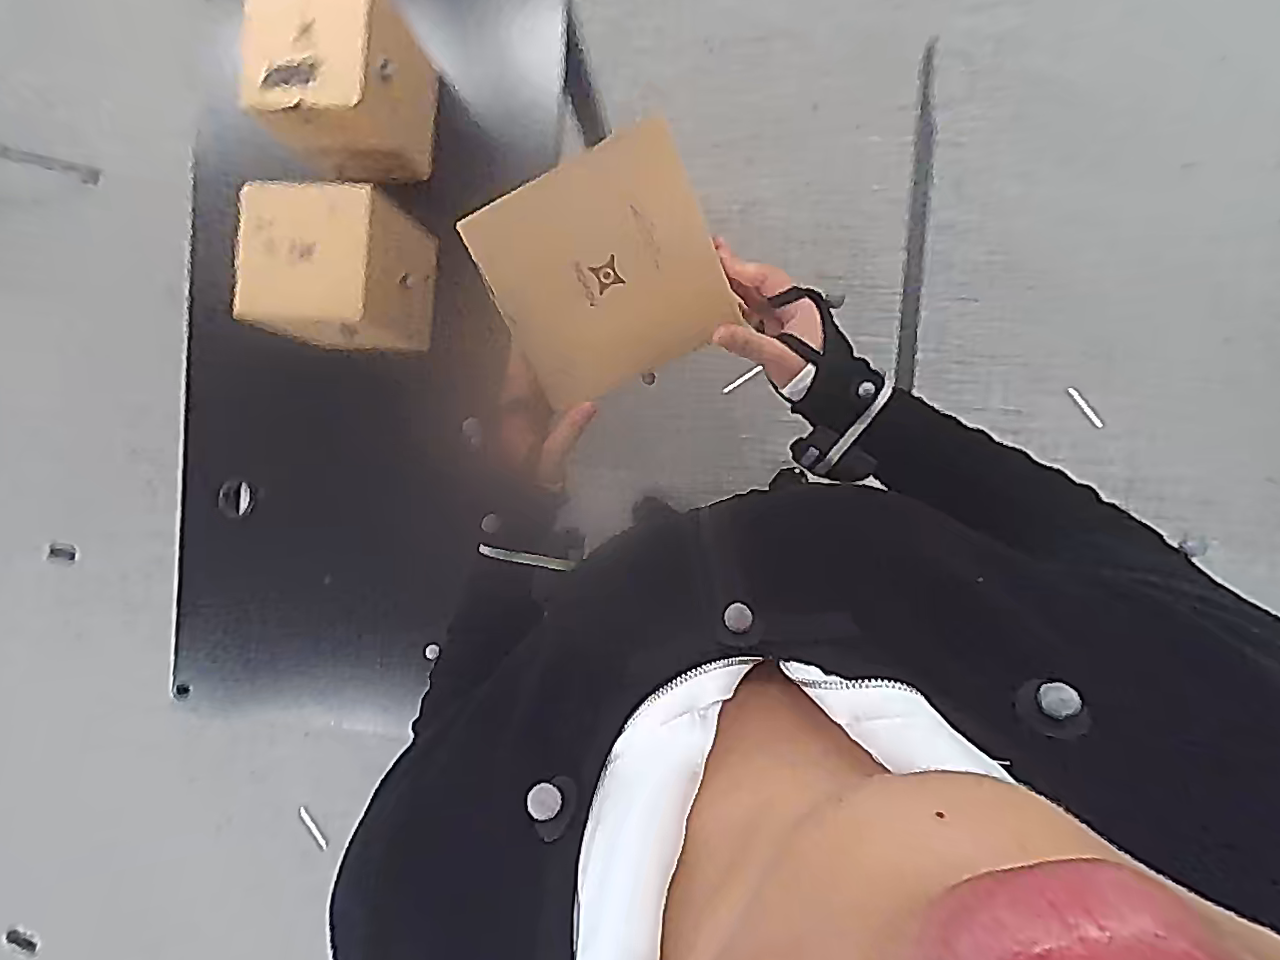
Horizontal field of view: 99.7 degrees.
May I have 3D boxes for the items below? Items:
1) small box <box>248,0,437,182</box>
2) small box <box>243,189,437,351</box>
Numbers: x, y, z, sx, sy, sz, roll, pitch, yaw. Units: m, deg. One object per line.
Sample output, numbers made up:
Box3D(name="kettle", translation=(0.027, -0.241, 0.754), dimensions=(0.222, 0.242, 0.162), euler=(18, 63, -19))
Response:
Box3D(name="small box", translation=(-0.403, -0.545, 0.757), dimensions=(0.168, 0.176, 0.179), euler=(5, 90, 7))
Box3D(name="small box", translation=(-0.407, -0.284, 0.760), dimensions=(0.179, 0.176, 0.168), euler=(4, 91, 7))
